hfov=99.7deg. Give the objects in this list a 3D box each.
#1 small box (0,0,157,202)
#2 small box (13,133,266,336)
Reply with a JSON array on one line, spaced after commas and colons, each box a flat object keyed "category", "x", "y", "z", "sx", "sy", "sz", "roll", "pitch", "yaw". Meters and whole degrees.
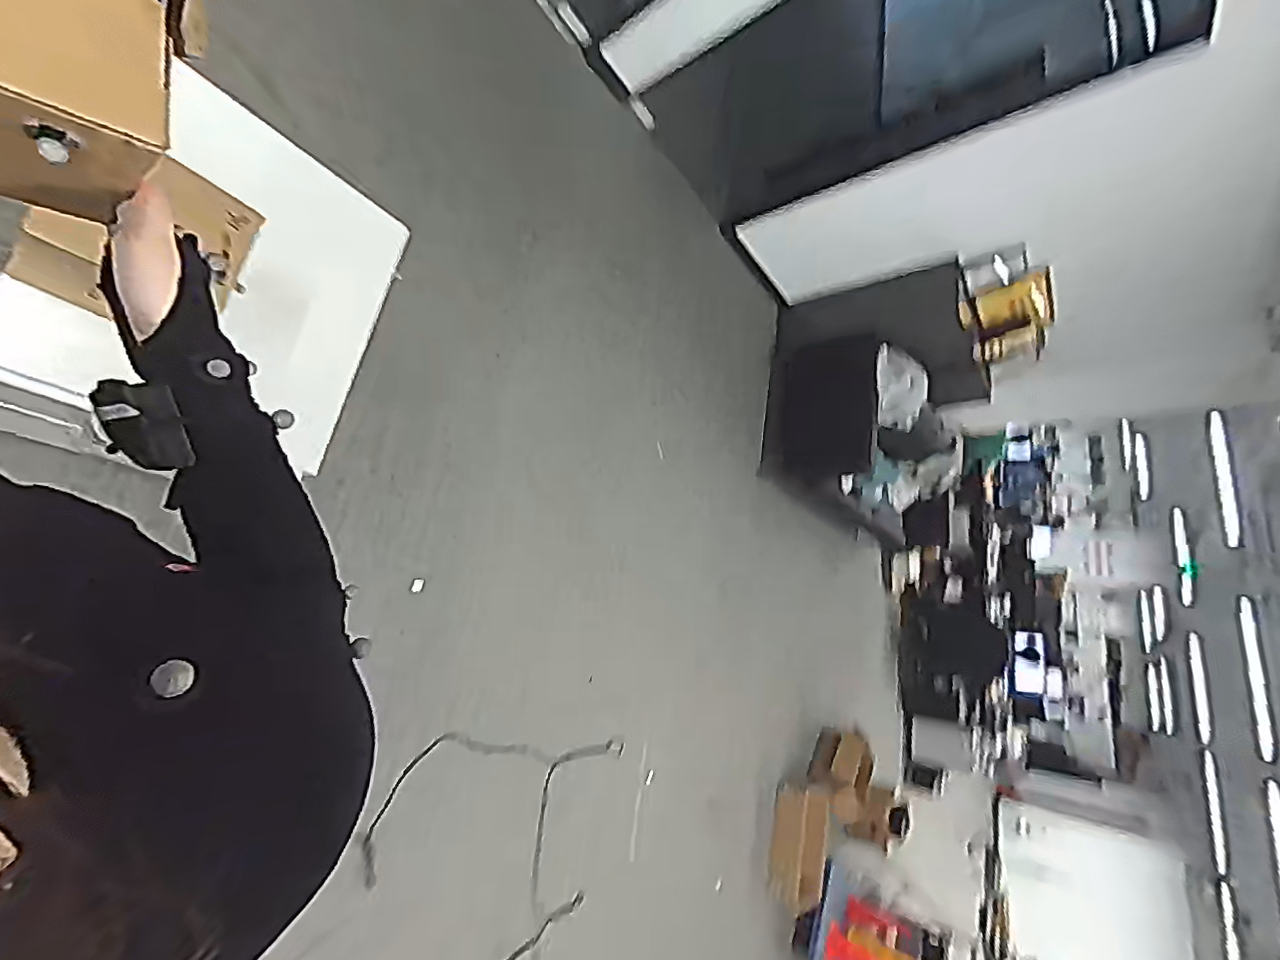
[{"category": "small box", "x": -0.365, "y": -0.259, "z": 0.257, "sx": 0.179, "sy": 0.176, "sz": 0.168, "roll": -2, "pitch": 95, "yaw": -54}, {"category": "small box", "x": -0.618, "y": -0.300, "z": 0.671, "sx": 0.179, "sy": 0.176, "sz": 0.168, "roll": 30, "pitch": 65, "yaw": -47}]
